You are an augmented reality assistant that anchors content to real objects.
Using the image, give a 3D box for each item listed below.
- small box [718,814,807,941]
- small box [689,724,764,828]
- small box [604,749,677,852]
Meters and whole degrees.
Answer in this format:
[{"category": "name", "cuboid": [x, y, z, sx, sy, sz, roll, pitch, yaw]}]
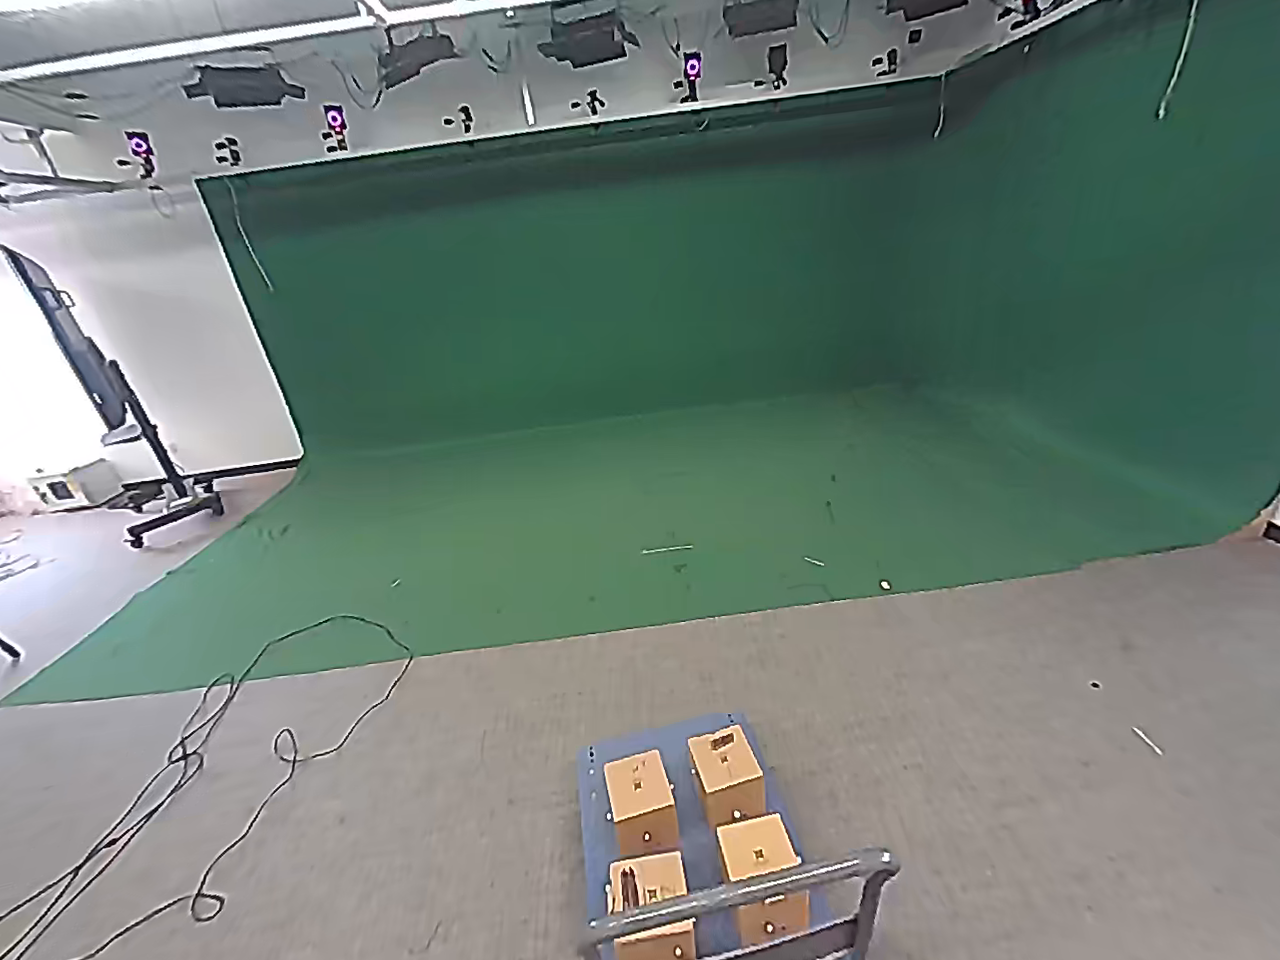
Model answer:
[{"category": "small box", "cuboid": [0.290, 0.959, 1.308, 0.168, 0.176, 0.179, -9, 26, -5]}, {"category": "small box", "cuboid": [0.245, 0.847, 1.550, 0.168, 0.176, 0.179, -12, 27, -8]}, {"category": "small box", "cuboid": [0.002, 0.899, 1.509, 0.168, 0.176, 0.179, -11, 26, -9]}]
